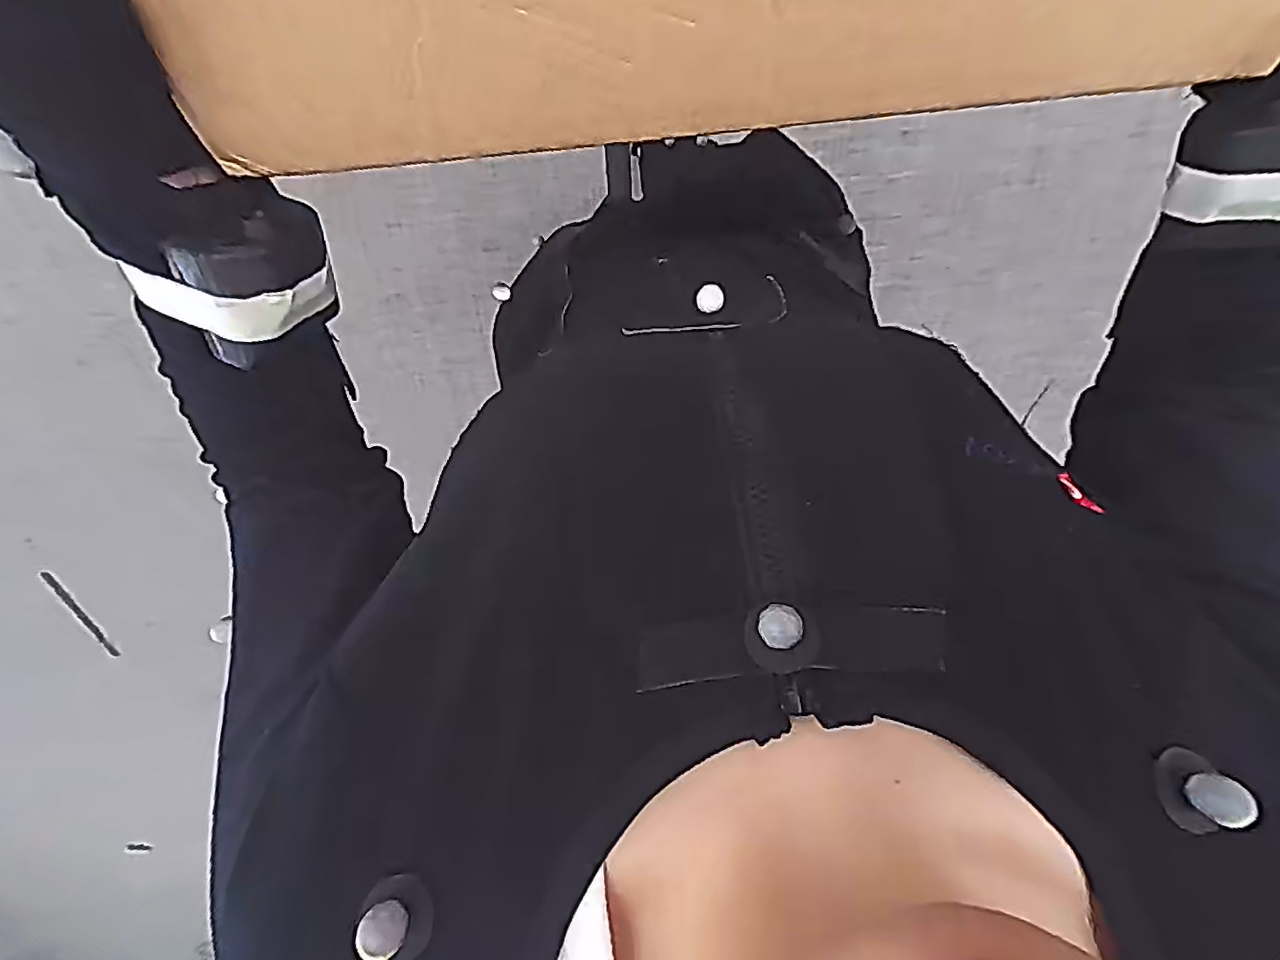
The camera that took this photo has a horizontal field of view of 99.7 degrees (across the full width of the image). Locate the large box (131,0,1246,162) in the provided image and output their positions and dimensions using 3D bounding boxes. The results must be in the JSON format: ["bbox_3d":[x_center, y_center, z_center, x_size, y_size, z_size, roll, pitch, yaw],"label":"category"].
[{"bbox_3d":[0.013,-0.358,0.181,0.408,0.320,0.320,-5,144,0],"label":"large box"}]
